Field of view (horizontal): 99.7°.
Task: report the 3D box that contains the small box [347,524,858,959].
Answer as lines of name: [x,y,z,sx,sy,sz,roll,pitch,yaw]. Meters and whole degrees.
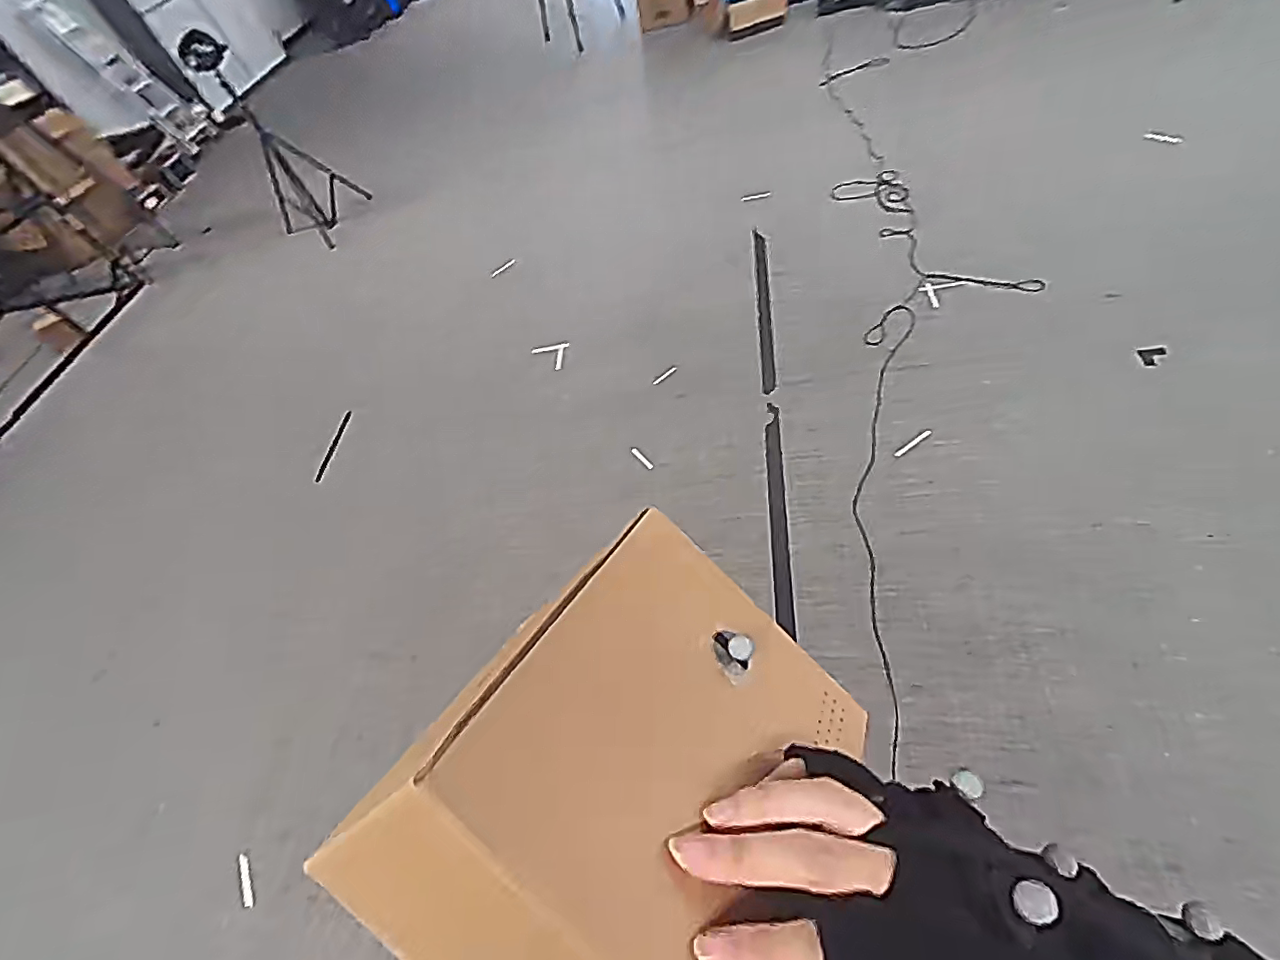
small box: [-0.010,0.162,0.290,0.176,0.168,0.179,44,38,1]
